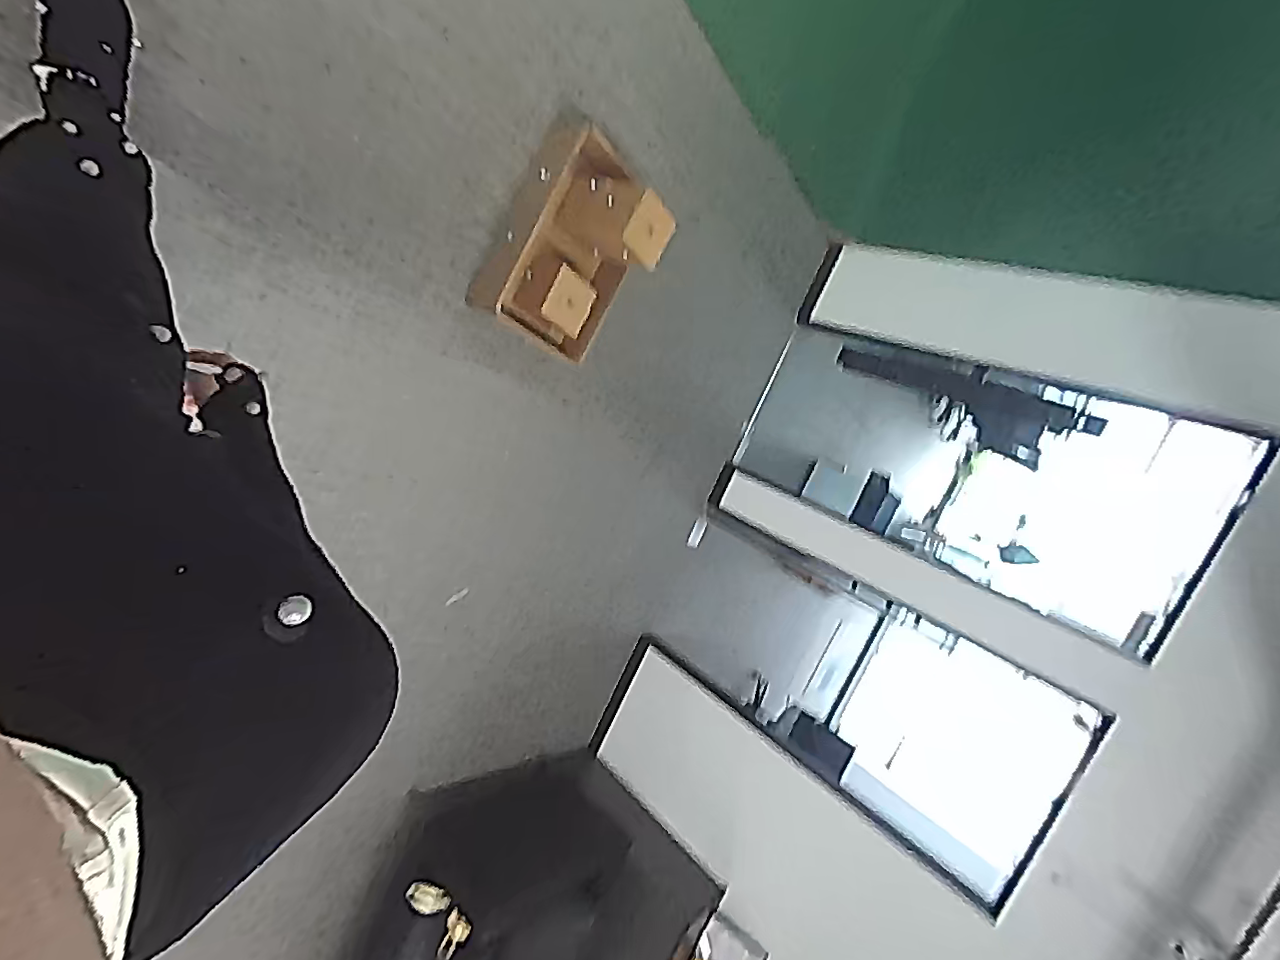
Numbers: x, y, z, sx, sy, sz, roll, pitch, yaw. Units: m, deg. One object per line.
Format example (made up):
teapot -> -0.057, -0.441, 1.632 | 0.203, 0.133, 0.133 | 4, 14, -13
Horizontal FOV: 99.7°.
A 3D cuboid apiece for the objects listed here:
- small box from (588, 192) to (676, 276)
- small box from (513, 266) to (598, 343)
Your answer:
small box -> -0.025, -0.765, 1.672 | 0.179, 0.176, 0.168 | 27, 93, -54
small box -> -0.277, -0.579, 1.771 | 0.179, 0.176, 0.168 | 26, 92, -53
